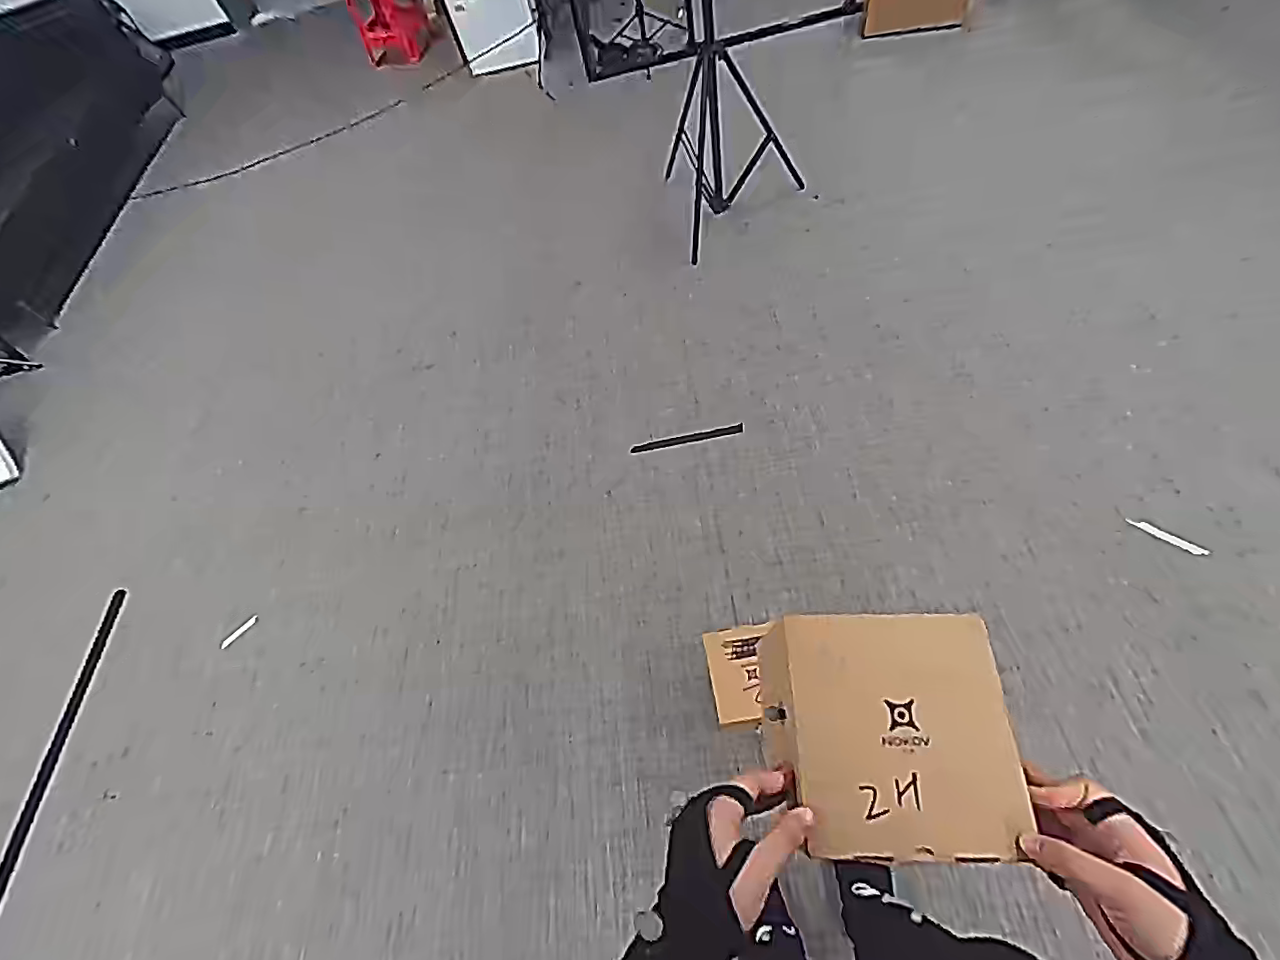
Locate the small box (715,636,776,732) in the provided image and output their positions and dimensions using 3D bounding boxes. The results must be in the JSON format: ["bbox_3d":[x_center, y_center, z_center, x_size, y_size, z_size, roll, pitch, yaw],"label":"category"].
[{"bbox_3d":[0.274,0.481,1.271,0.168,0.176,0.179,-11,60,5],"label":"small box"}]

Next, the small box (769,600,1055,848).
[{"bbox_3d":[0.217,0.214,0.492,0.168,0.176,0.179,-2,66,4],"label":"small box"}]
